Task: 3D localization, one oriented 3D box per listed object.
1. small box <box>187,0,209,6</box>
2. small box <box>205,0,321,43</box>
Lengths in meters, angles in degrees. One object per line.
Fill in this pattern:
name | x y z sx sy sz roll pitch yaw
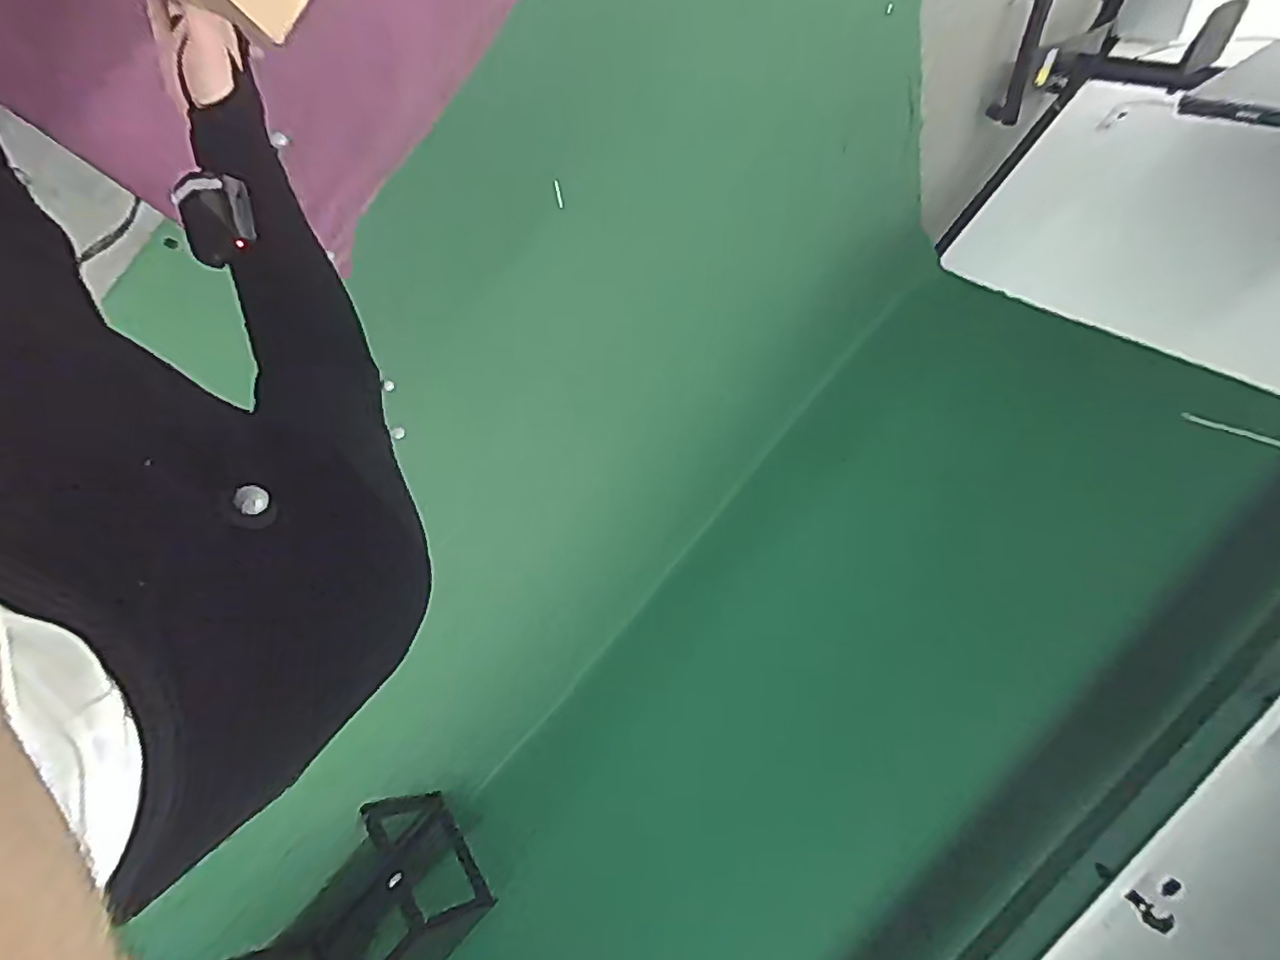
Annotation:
small box | -0.318 -0.433 0.315 0.168 0.176 0.179 -50 148 3
small box | -0.213 -0.342 0.230 0.168 0.176 0.179 -50 148 5
